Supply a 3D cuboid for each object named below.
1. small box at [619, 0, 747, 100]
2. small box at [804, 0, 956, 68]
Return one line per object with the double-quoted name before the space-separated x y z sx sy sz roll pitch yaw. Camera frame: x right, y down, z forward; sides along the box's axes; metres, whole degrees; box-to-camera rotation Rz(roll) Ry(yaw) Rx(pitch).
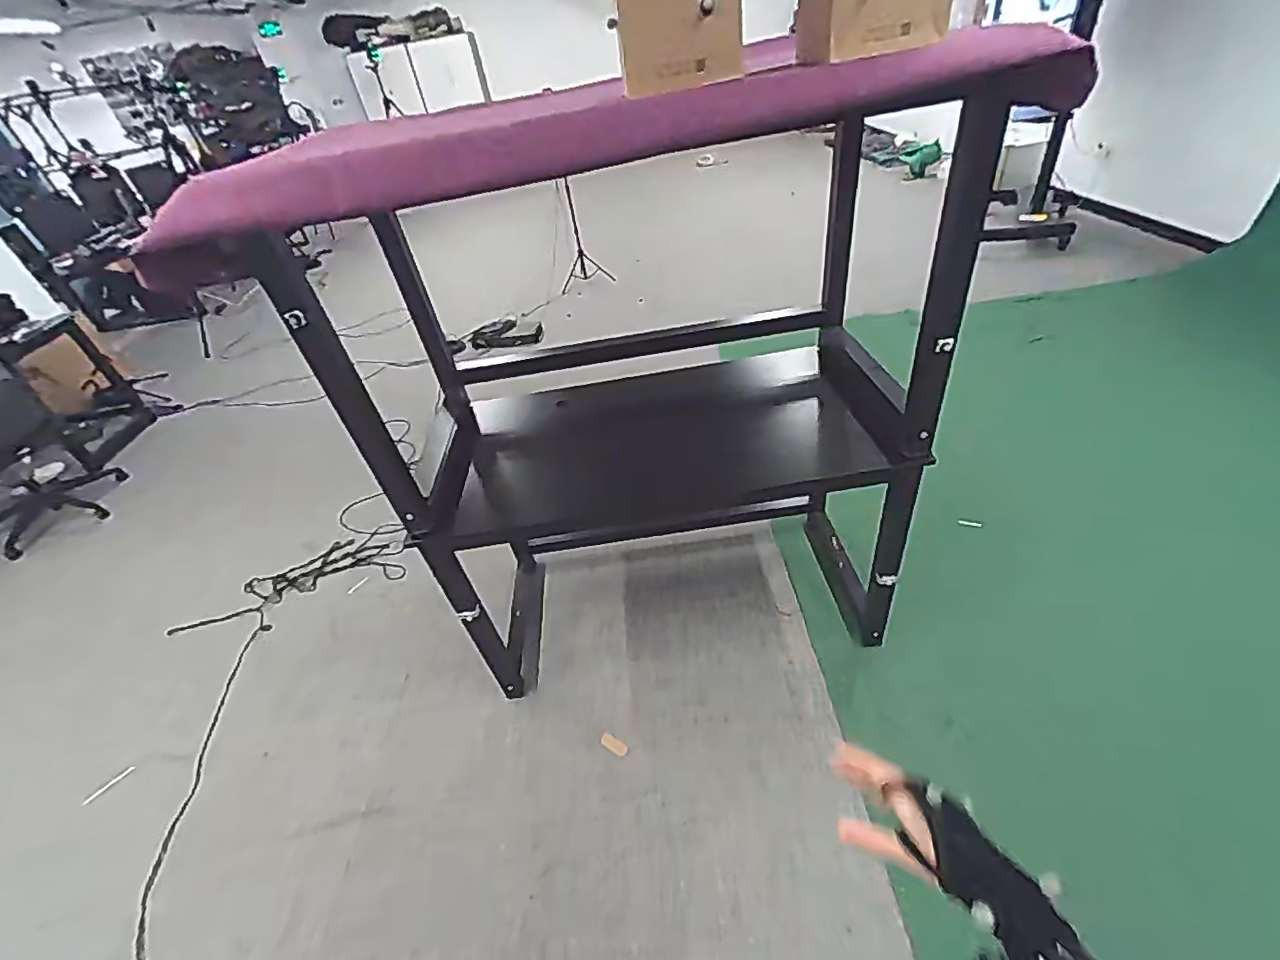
"small box" 0.059 -0.668 0.788 0.168 0.176 0.179 -8 37 2
"small box" 0.338 -0.705 0.769 0.168 0.176 0.179 -8 38 4
